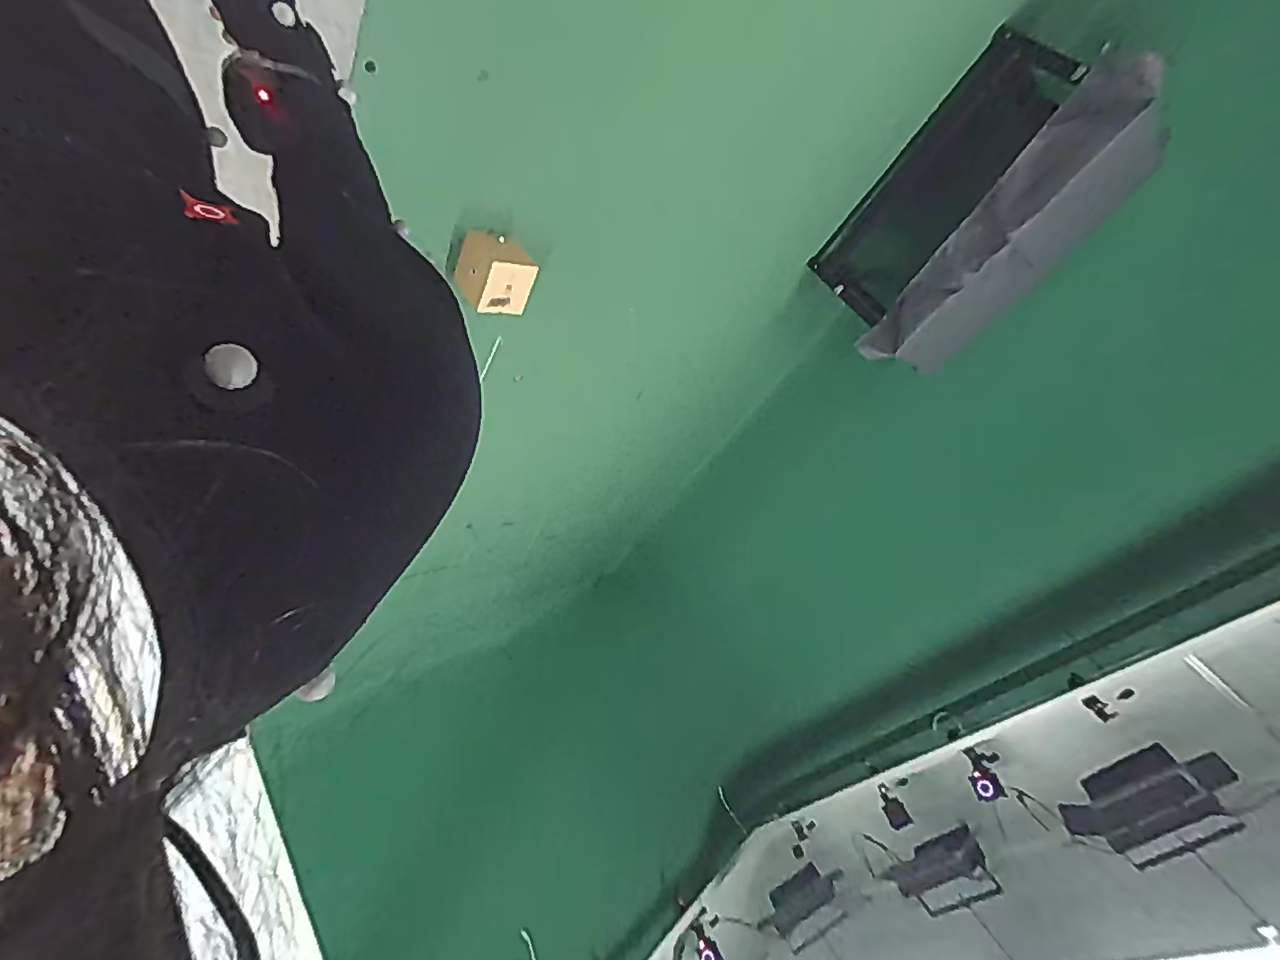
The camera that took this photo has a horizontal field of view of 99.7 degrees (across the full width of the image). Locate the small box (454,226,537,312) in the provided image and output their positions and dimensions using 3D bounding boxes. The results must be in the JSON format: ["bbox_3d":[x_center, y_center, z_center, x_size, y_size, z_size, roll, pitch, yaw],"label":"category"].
[{"bbox_3d":[-0.452,-0.648,1.672,0.168,0.176,0.179,-15,149,-45],"label":"small box"}]
